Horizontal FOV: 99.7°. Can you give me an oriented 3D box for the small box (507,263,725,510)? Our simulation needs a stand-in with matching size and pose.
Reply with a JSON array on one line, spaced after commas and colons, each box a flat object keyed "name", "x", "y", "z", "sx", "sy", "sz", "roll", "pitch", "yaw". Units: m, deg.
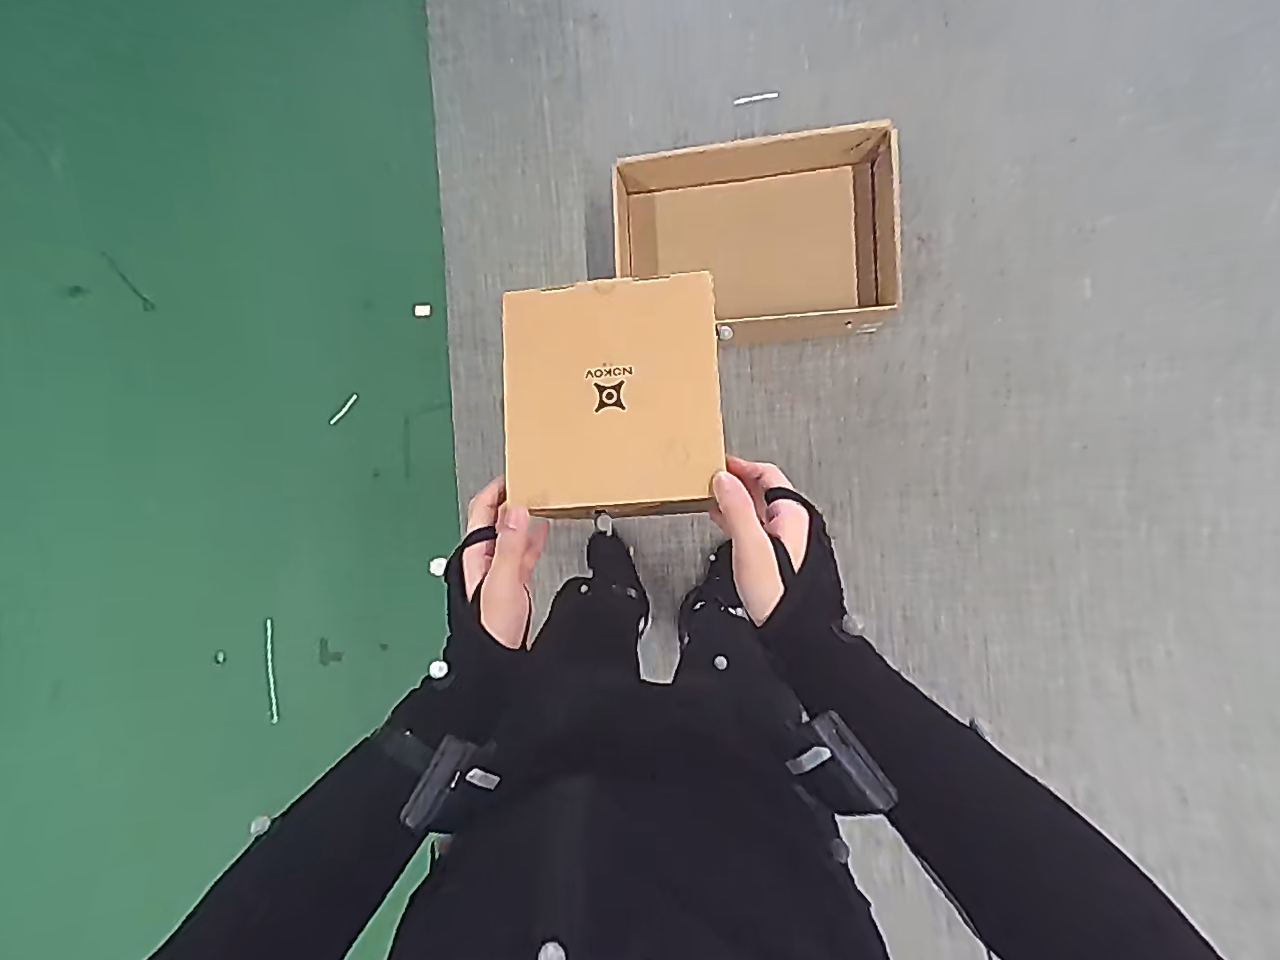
[{"name": "small box", "x": -0.012, "y": -0.065, "z": 0.485, "sx": 0.168, "sy": 0.176, "sz": 0.179, "roll": -3, "pitch": 82, "yaw": 5}]
